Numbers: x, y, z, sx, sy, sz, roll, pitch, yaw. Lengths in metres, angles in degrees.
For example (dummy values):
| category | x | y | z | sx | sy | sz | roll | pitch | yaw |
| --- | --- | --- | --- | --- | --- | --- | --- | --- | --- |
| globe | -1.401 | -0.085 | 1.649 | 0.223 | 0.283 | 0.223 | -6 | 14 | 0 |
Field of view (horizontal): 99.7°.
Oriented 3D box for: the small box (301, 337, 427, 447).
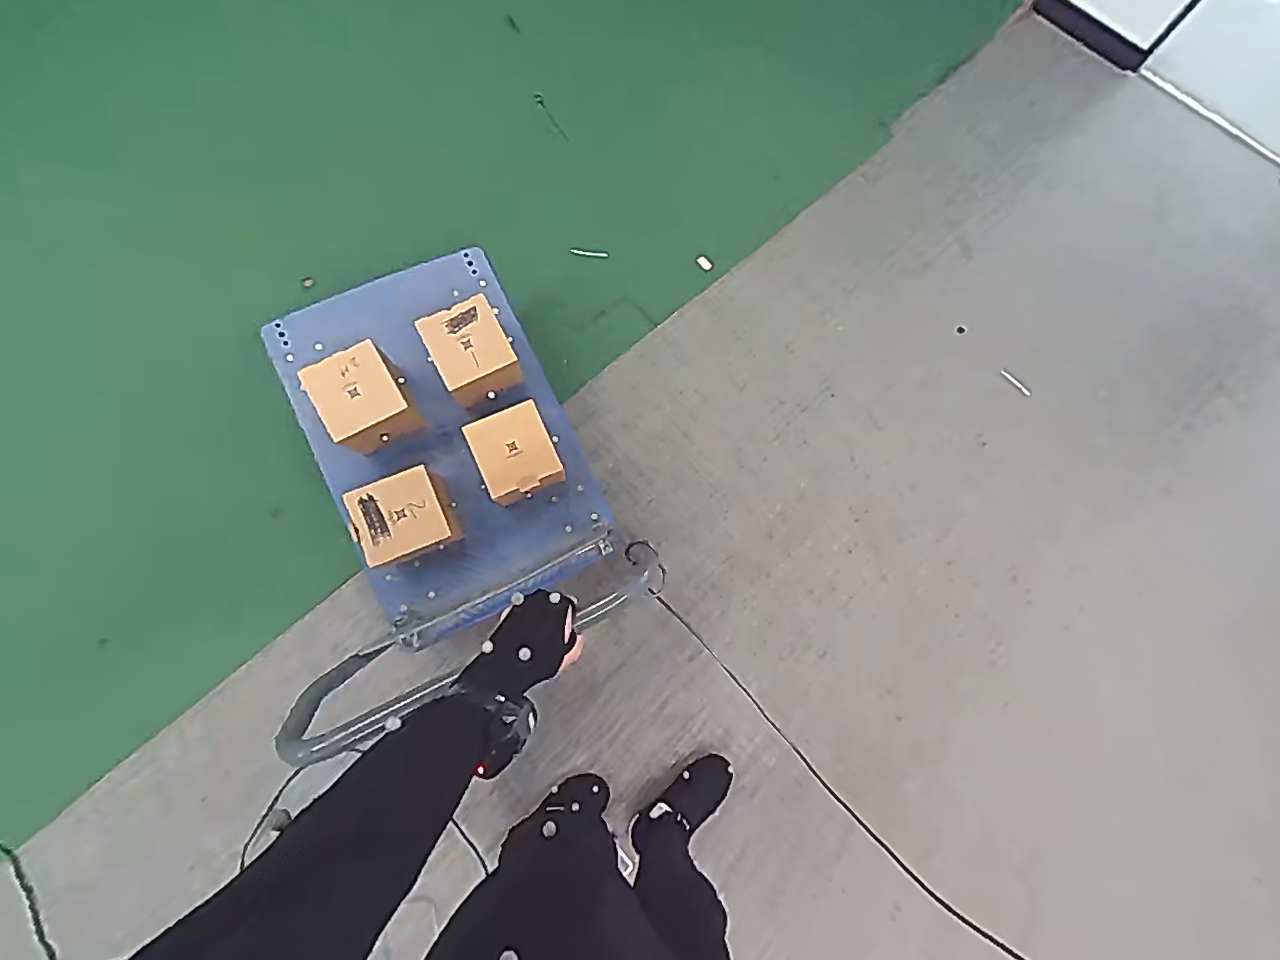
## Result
| category | x | y | z | sx | sy | sz | roll | pitch | yaw |
| --- | --- | --- | --- | --- | --- | --- | --- | --- | --- |
| small box | -0.606 | -0.186 | 1.215 | 0.168 | 0.176 | 0.179 | -29 | 87 | -10 |

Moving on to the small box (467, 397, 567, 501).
| category | x | y | z | sx | sy | sz | roll | pitch | yaw |
| --- | --- | --- | --- | --- | --- | --- | --- | --- | --- |
| small box | -0.276 | -0.064 | 1.242 | 0.168 | 0.176 | 0.179 | -24 | 87 | -9 |

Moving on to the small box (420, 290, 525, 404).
| category | x | y | z | sx | sy | sz | roll | pitch | yaw |
| --- | --- | --- | --- | --- | --- | --- | --- | --- | --- |
| small box | -0.380 | -0.301 | 1.256 | 0.168 | 0.176 | 0.179 | -27 | 88 | -9 |
